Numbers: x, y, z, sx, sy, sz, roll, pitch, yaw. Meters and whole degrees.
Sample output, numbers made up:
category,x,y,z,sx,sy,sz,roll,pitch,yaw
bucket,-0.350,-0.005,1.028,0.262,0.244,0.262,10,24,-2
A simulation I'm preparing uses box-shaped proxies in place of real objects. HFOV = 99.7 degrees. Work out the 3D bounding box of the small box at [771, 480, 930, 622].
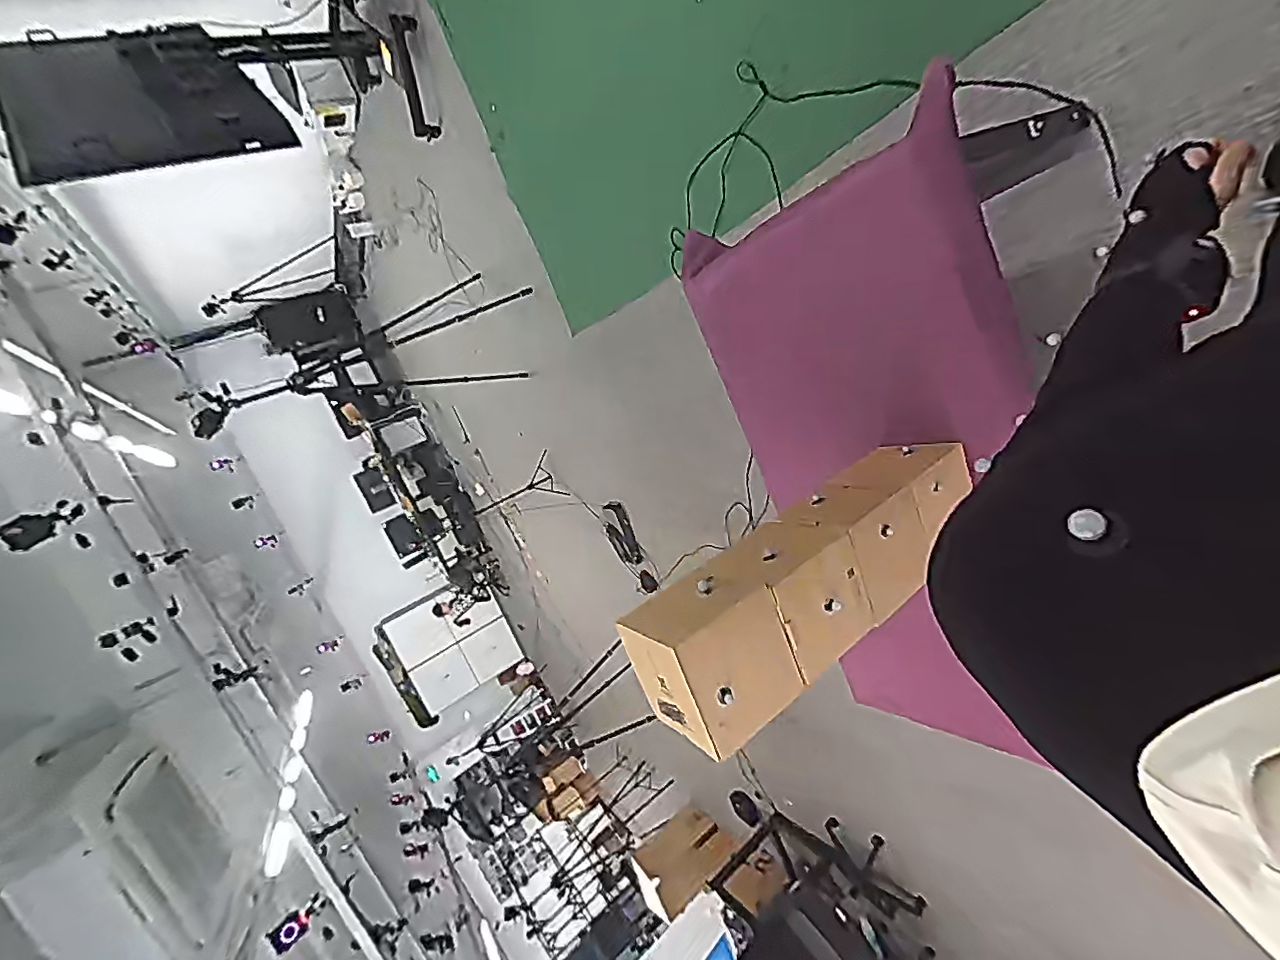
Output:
category,x,y,z,sx,sy,sz,roll,pitch,yaw
small box,0.360,0.109,0.925,0.168,0.176,0.179,1,115,60

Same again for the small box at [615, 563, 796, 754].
category,x,y,z,sx,sy,sz,roll,pitch,yaw
small box,0.097,0.243,0.784,0.168,0.176,0.179,-3,111,61

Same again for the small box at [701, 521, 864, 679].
category,x,y,z,sx,sy,sz,roll,pitch,yaw
small box,0.228,0.176,0.856,0.179,0.176,0.168,0,114,60
